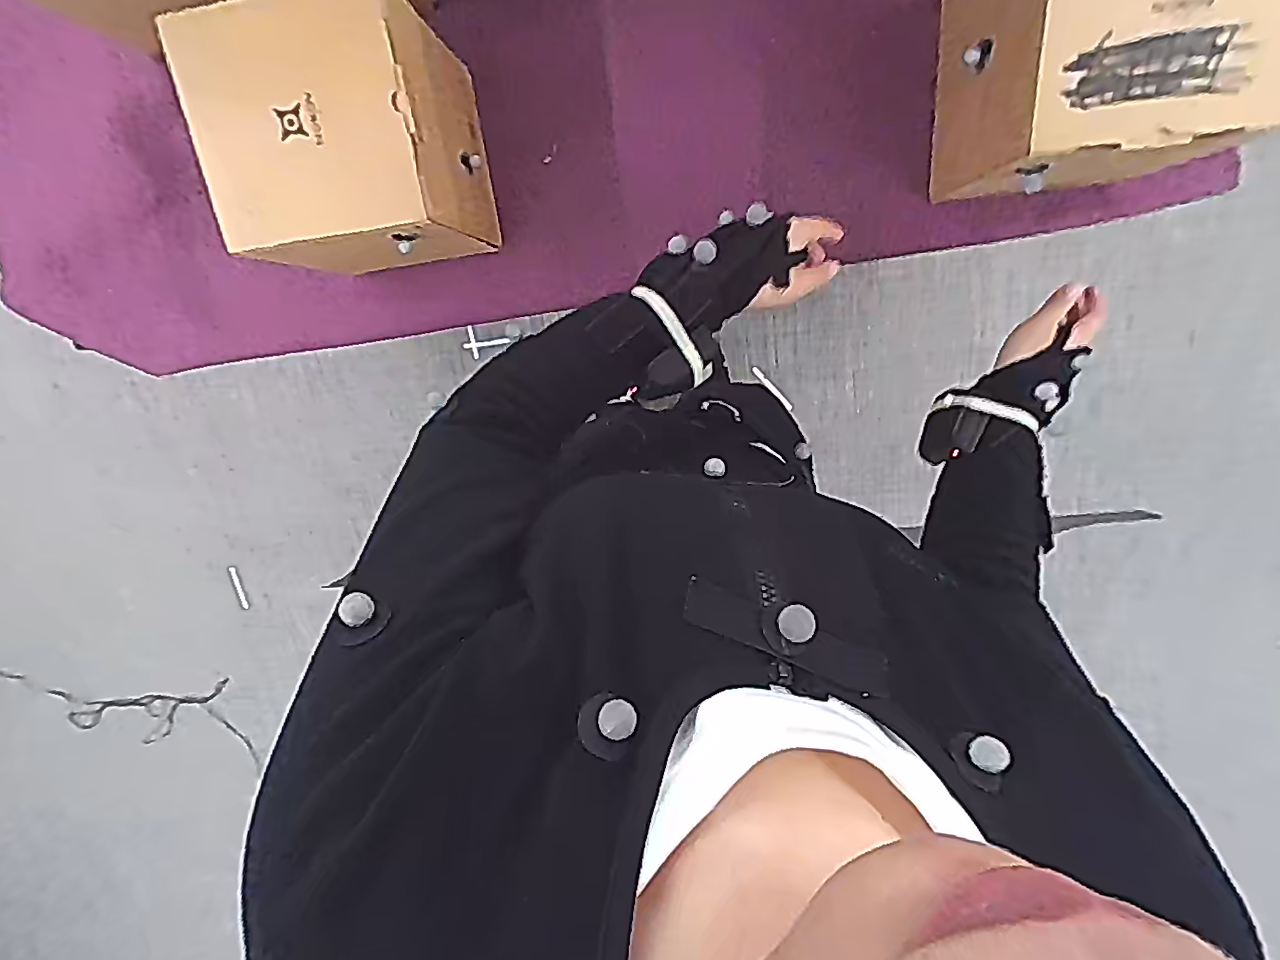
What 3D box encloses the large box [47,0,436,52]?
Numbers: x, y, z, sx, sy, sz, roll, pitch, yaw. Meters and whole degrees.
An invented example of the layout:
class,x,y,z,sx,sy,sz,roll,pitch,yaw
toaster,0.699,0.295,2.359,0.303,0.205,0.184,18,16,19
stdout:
class,x,y,z,sx,sy,sz,roll,pitch,yaw
large box,-0.374,-0.584,0.337,0.320,0.320,0.408,-4,110,7
